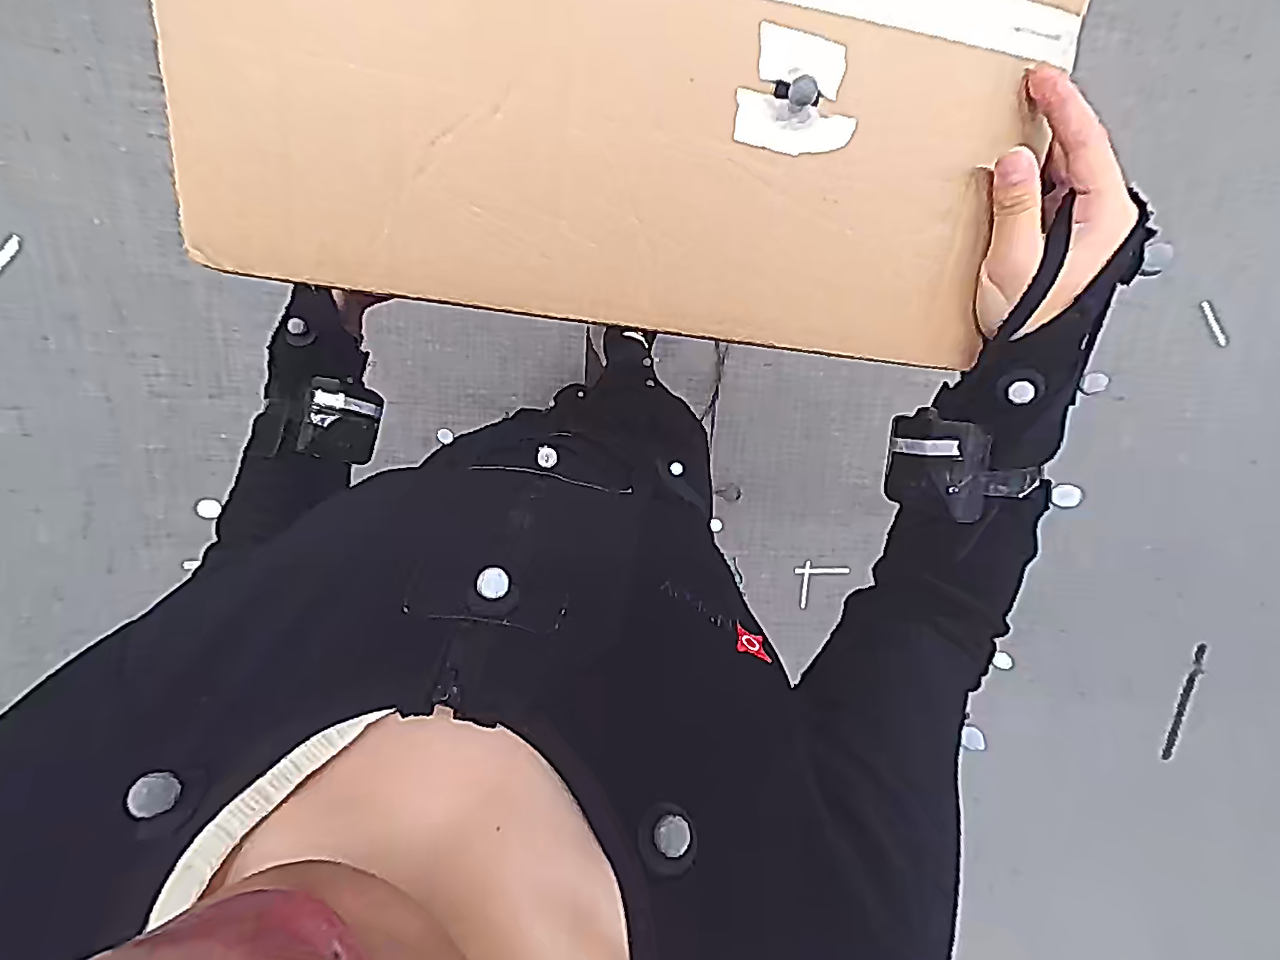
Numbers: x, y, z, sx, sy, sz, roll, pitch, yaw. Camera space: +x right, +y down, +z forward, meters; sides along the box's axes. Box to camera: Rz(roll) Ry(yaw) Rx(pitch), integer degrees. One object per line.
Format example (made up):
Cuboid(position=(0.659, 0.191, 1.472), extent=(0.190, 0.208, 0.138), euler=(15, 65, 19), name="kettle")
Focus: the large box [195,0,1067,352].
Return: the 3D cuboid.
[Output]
Cuboid(position=(-0.008, -0.279, 0.385), extent=(0.408, 0.320, 0.320), euler=(4, 109, -10), name="large box")
